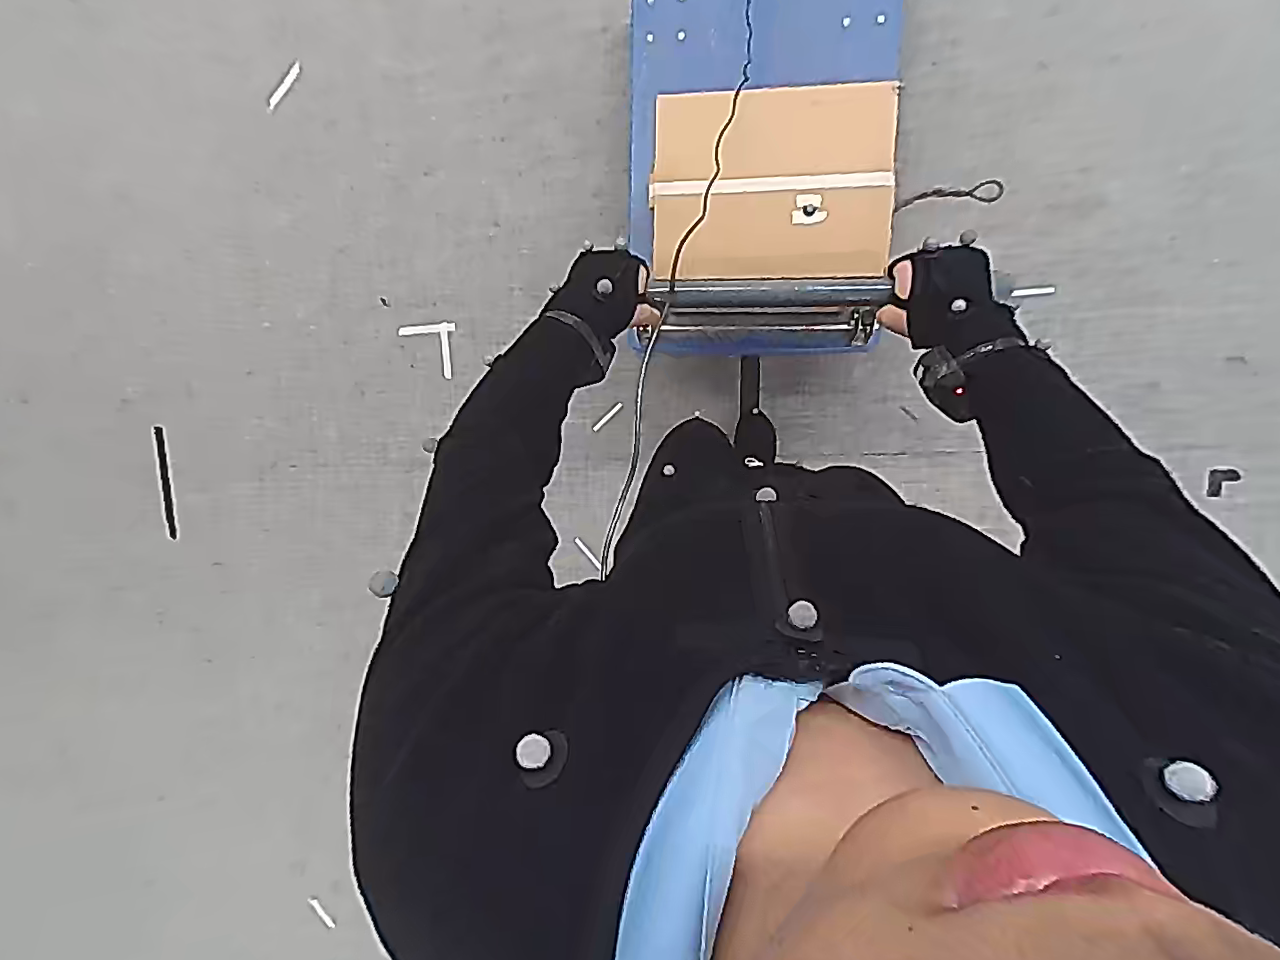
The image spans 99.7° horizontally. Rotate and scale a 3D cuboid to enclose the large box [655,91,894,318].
[{"bbox_3d":[0.240,-0.513,1.081,0.408,0.320,0.320,2,97,7],"label":"large box"}]
